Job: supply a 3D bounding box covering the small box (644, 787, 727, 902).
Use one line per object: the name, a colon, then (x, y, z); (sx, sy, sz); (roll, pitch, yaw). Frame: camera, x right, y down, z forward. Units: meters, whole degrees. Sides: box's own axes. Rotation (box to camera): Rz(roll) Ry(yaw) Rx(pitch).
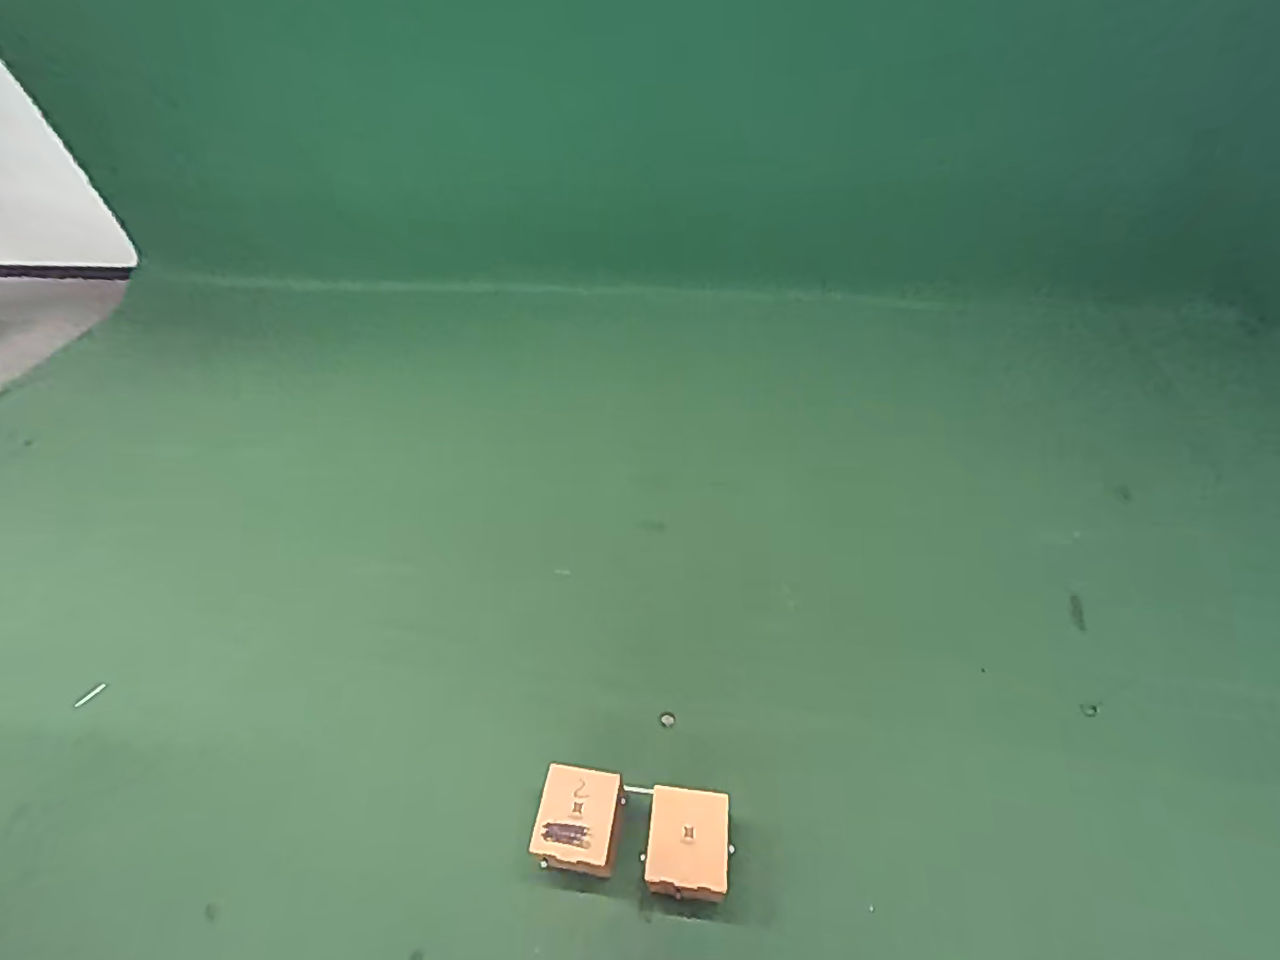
small box: (0.100, 0.804, 1.191); (0.168, 0.176, 0.179); (4, 48, 6)
